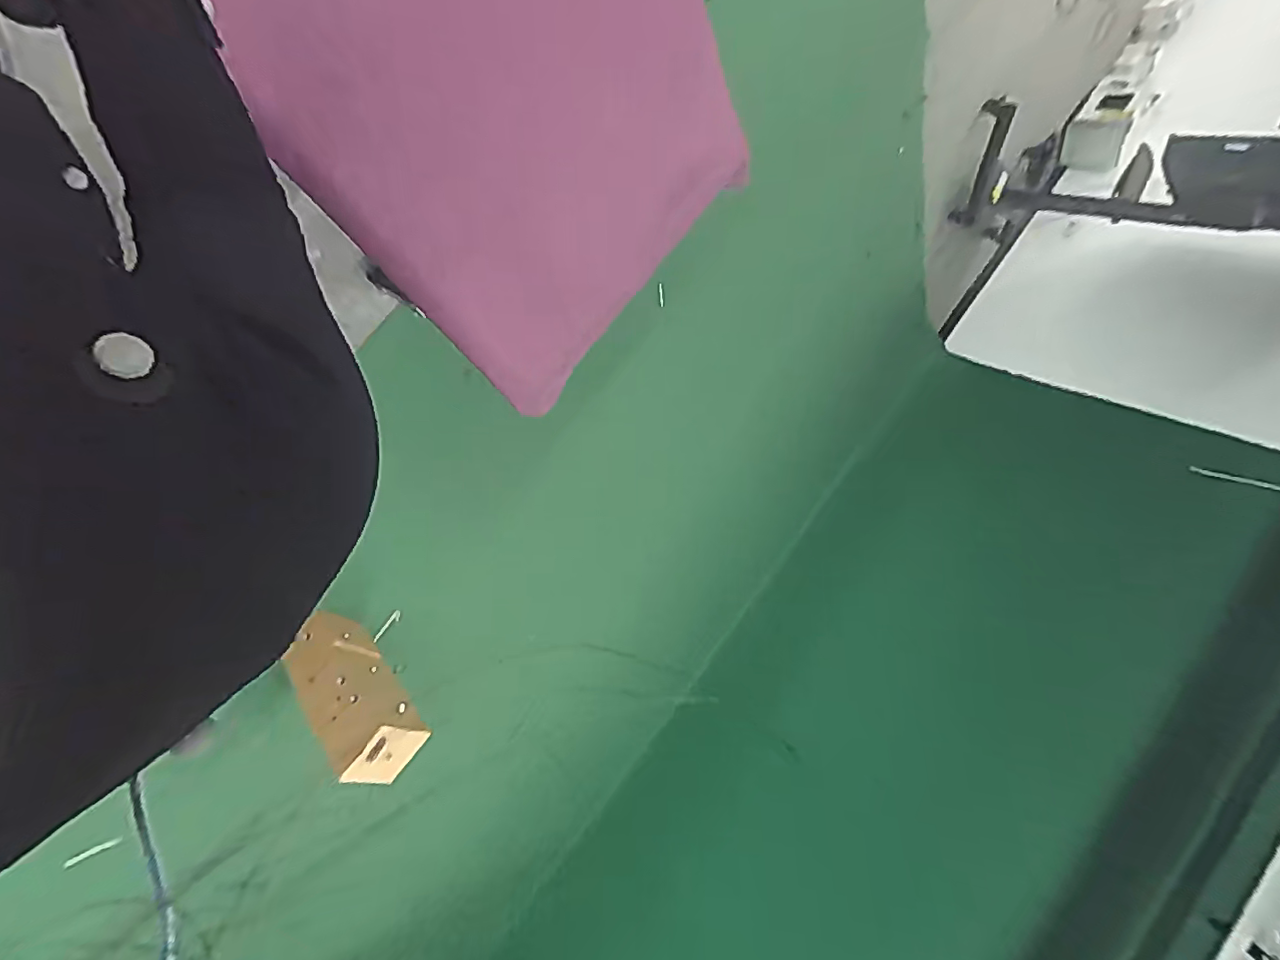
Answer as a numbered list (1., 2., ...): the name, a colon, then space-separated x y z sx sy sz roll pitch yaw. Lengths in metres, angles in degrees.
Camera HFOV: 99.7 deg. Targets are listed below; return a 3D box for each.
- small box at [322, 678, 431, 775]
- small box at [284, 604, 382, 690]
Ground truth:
1. small box: -0.710 0.657 1.451 0.168 0.176 0.179 -50 143 -7
2. small box: -0.933 0.505 1.641 0.168 0.176 0.179 -50 141 -8
